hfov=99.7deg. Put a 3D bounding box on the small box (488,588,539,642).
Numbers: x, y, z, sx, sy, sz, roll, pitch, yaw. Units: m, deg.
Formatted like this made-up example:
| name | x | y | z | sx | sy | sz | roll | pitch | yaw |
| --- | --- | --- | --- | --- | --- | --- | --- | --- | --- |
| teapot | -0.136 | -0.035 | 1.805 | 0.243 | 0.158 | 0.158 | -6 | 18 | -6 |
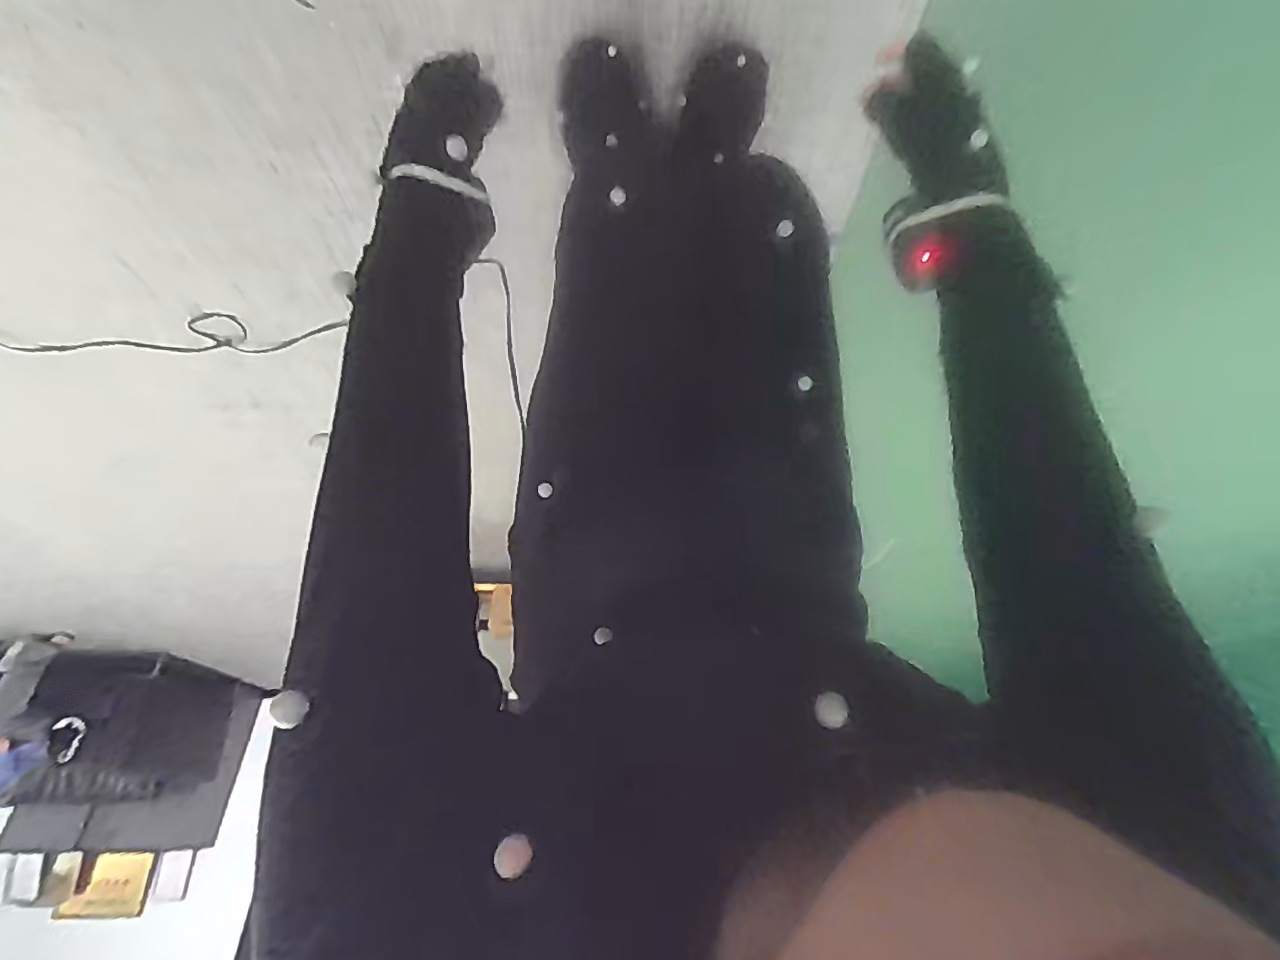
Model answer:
| name | x | y | z | sx | sy | sz | roll | pitch | yaw |
| --- | --- | --- | --- | --- | --- | --- | --- | --- | --- |
| small box | -0.516 | 0.558 | 2.231 | 0.168 | 0.176 | 0.179 | 3 | 146 | -2 |
